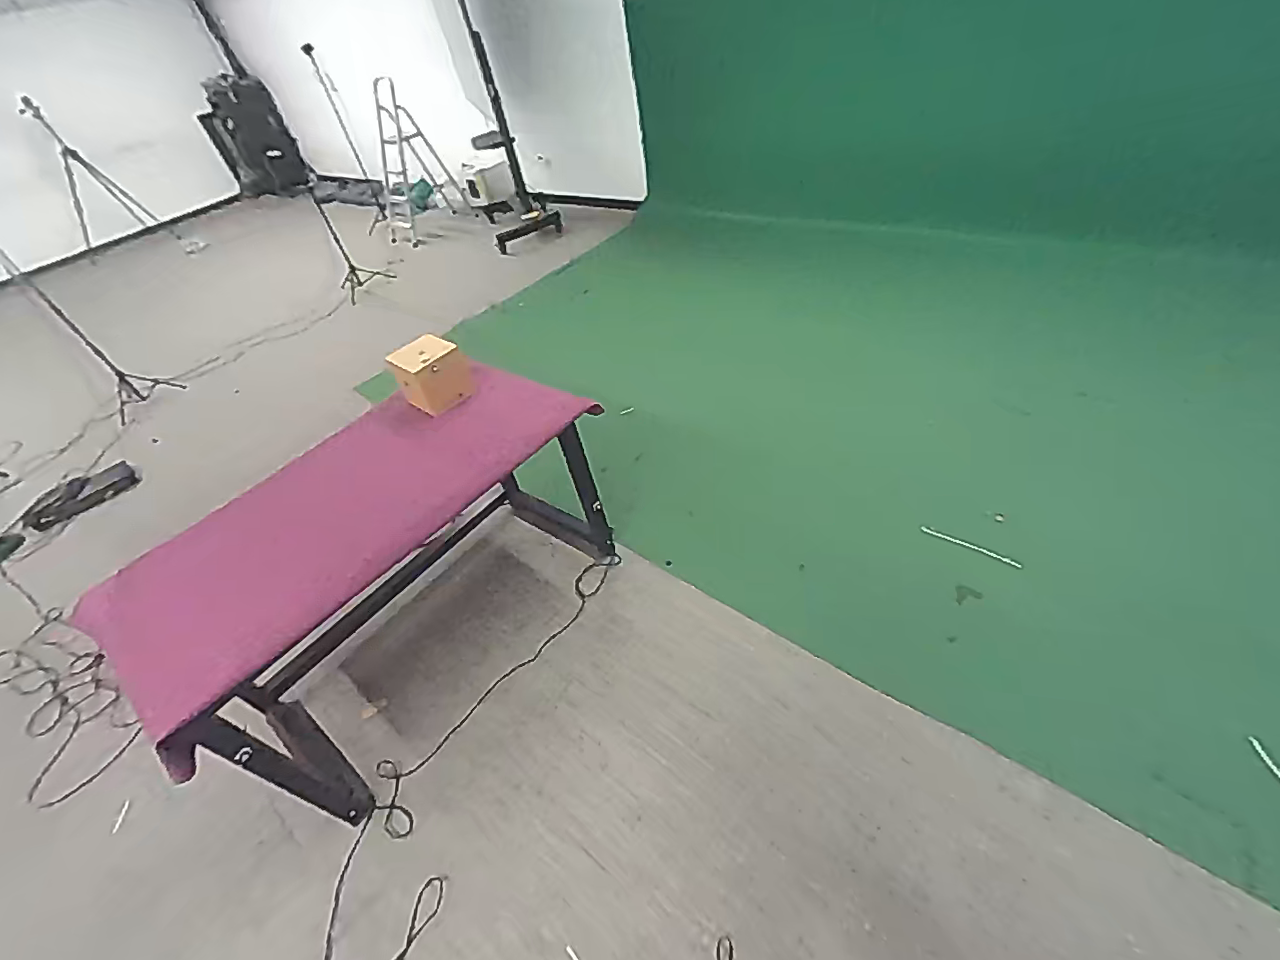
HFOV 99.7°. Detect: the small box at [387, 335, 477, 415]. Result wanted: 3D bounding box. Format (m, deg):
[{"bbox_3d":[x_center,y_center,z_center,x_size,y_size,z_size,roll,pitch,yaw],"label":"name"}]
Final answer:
[{"bbox_3d":[-0.653,-0.330,1.707,0.179,0.176,0.168,25,56,34],"label":"small box"}]
